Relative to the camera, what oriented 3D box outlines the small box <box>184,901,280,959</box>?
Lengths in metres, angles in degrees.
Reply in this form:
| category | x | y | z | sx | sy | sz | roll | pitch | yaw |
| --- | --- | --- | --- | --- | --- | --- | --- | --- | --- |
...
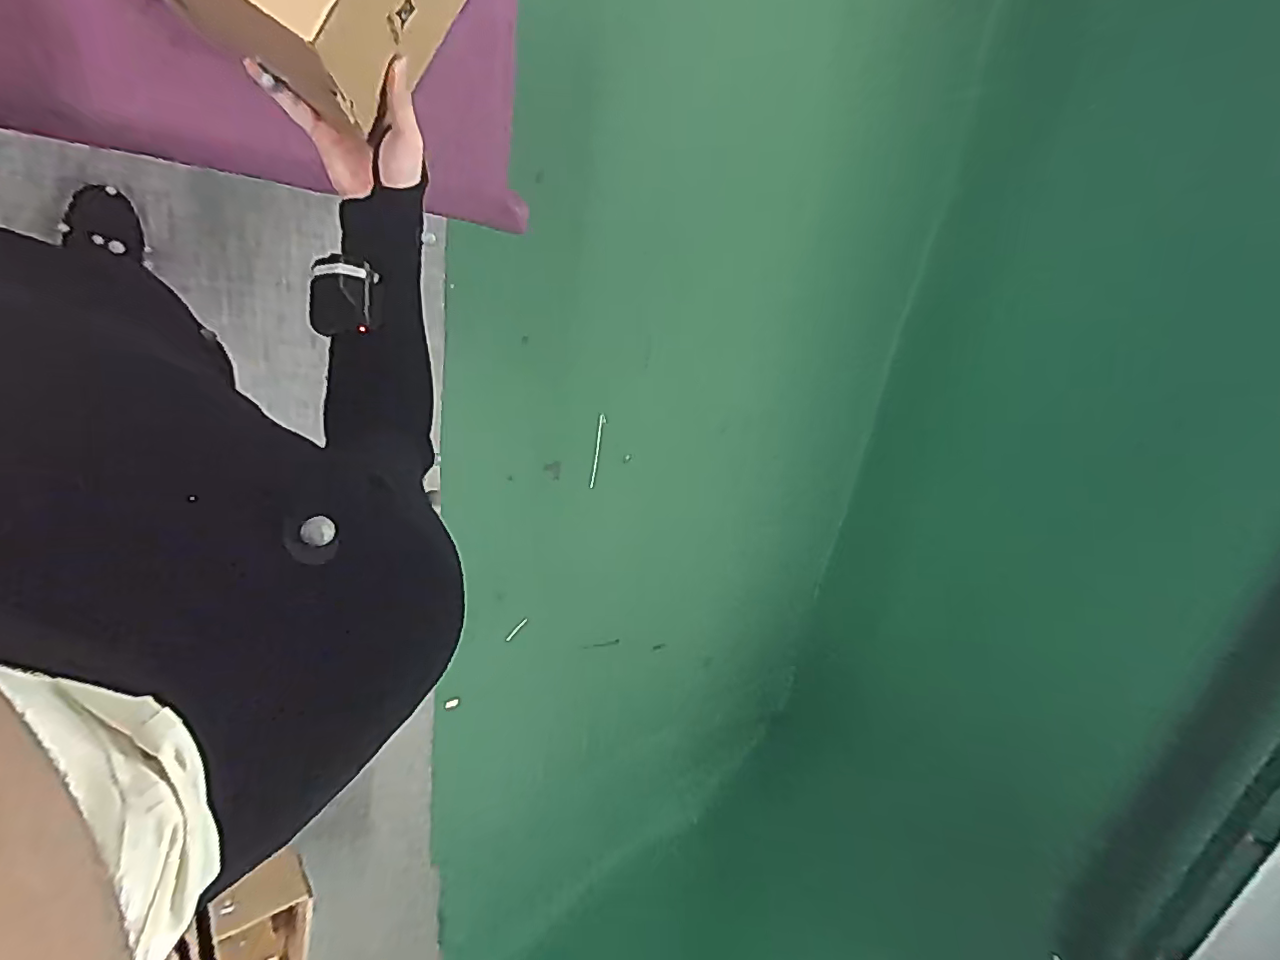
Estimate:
| category | x | y | z | sx | sy | sz | roll | pitch | yaw |
| --- | --- | --- | --- | --- | --- | --- | --- | --- | --- |
| small box | -1.085 | 1.282 | 1.434 | 0.179 | 0.176 | 0.168 | 2 | 109 | -46 |
